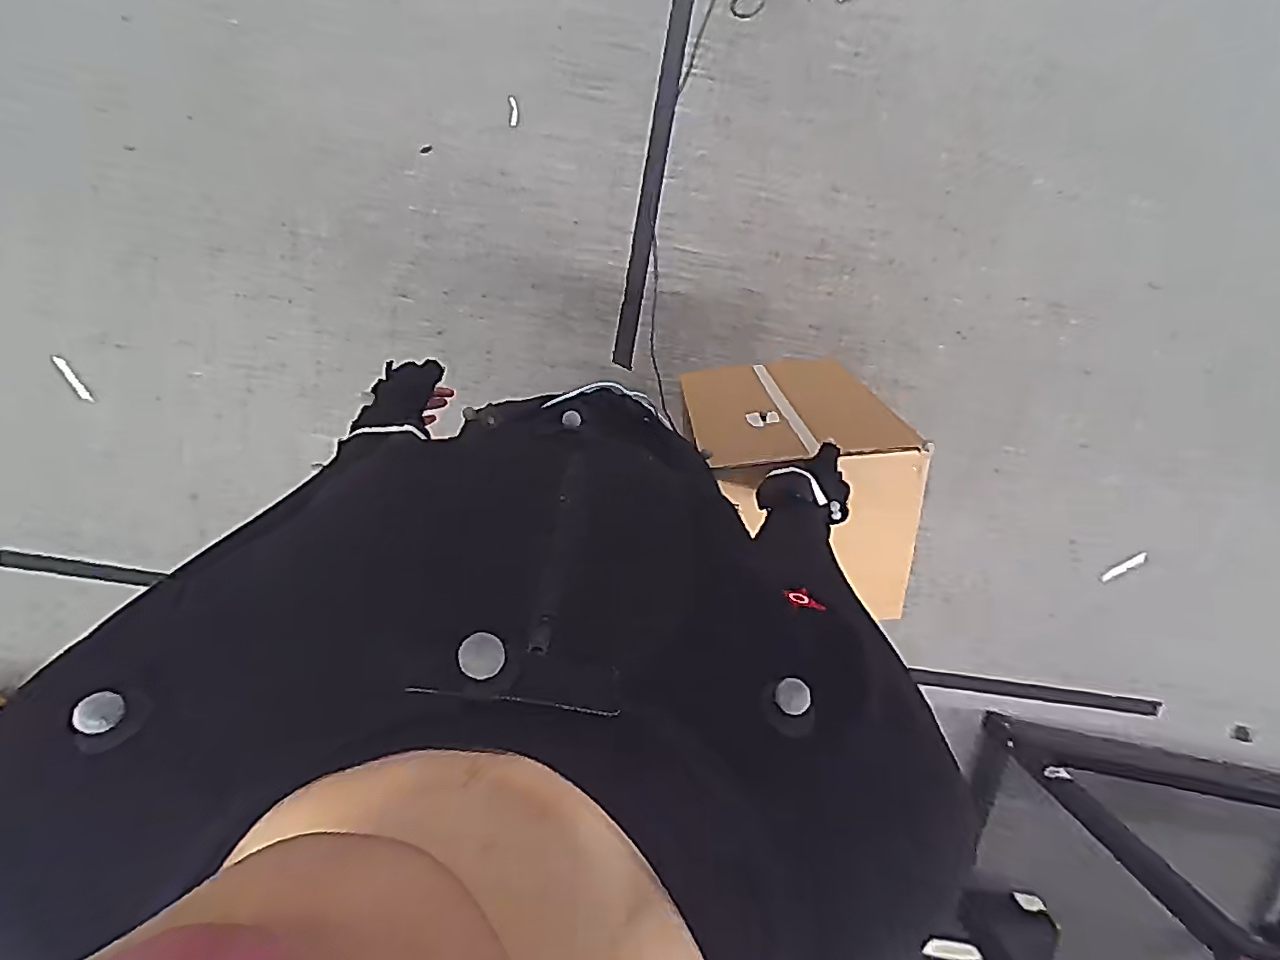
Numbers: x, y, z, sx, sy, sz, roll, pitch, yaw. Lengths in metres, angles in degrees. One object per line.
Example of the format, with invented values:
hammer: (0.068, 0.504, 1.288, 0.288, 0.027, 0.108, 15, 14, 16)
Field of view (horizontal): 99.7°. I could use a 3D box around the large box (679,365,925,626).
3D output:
large box: (0.247, 0.007, 0.991, 0.320, 0.408, 0.320, -5, 120, 2)
